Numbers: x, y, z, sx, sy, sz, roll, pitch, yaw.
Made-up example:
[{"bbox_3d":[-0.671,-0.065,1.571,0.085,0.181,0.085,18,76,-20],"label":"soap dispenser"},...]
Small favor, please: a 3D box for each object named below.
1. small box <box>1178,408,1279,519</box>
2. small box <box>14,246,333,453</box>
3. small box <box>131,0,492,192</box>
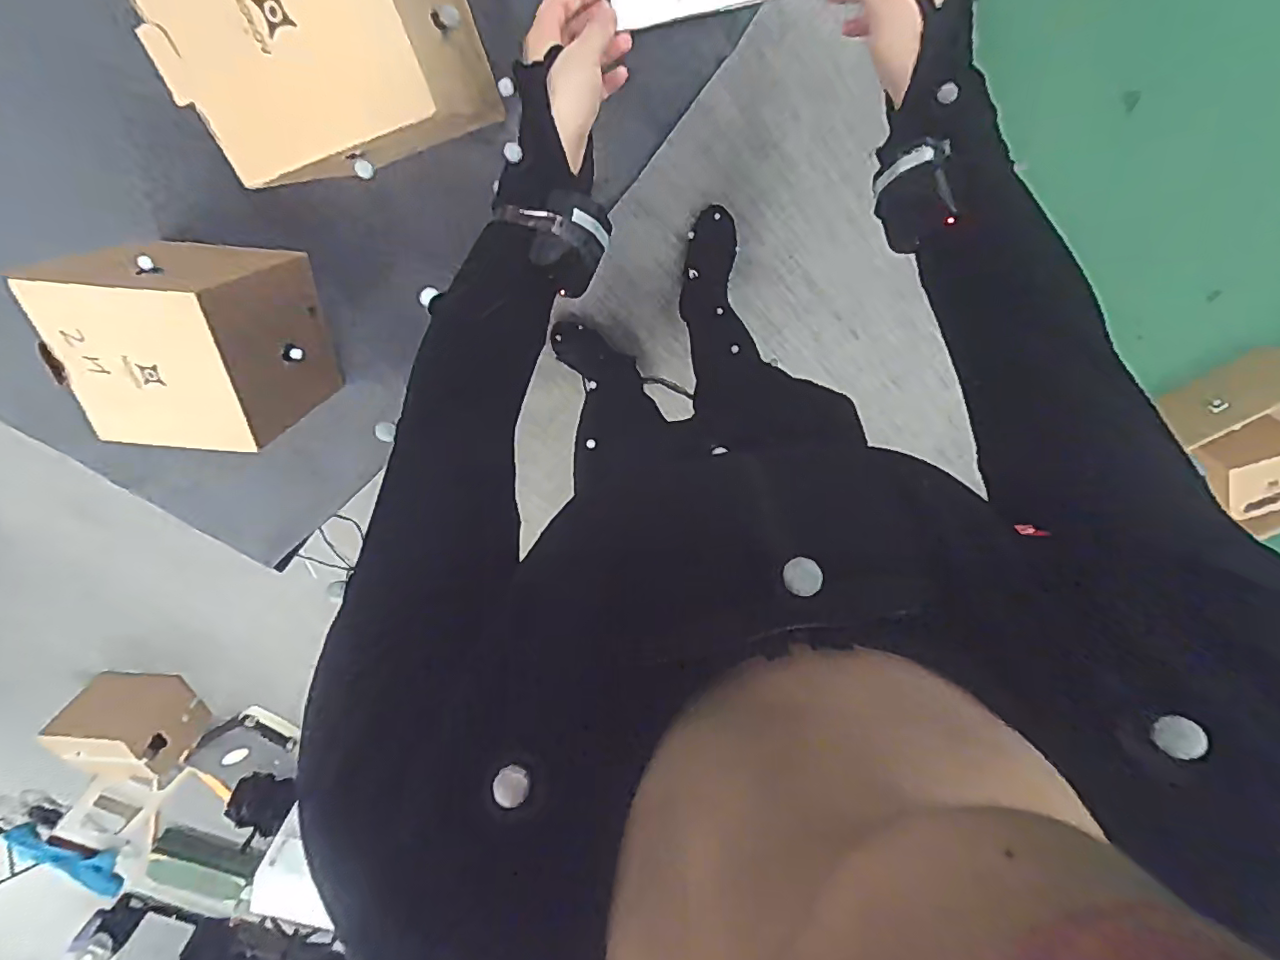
[{"bbox_3d":[1.449,-0.042,1.299,0.168,0.176,0.179,-23,120,20],"label":"small box"},{"bbox_3d":[-0.464,-0.146,0.582,0.179,0.176,0.168,5,124,2],"label":"small box"},{"bbox_3d":[-0.235,-0.348,0.421,0.179,0.176,0.168,-11,122,14],"label":"small box"}]
